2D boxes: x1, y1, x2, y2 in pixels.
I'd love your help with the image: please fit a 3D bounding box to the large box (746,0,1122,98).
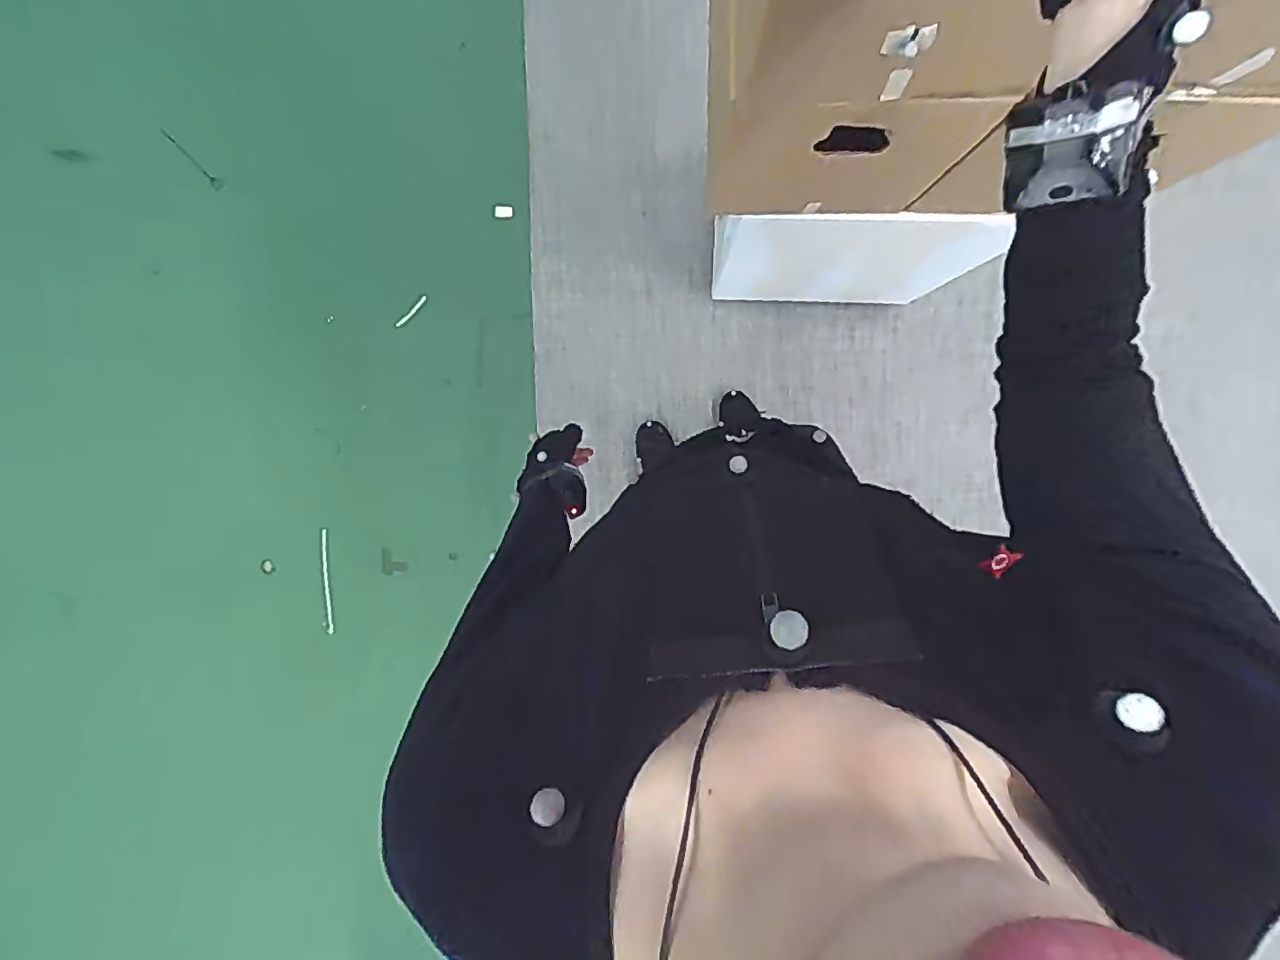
[{"bbox_3d":[0.240,-0.583,0.383,0.320,0.320,0.408,-3,94,3],"label":"large box"}]
